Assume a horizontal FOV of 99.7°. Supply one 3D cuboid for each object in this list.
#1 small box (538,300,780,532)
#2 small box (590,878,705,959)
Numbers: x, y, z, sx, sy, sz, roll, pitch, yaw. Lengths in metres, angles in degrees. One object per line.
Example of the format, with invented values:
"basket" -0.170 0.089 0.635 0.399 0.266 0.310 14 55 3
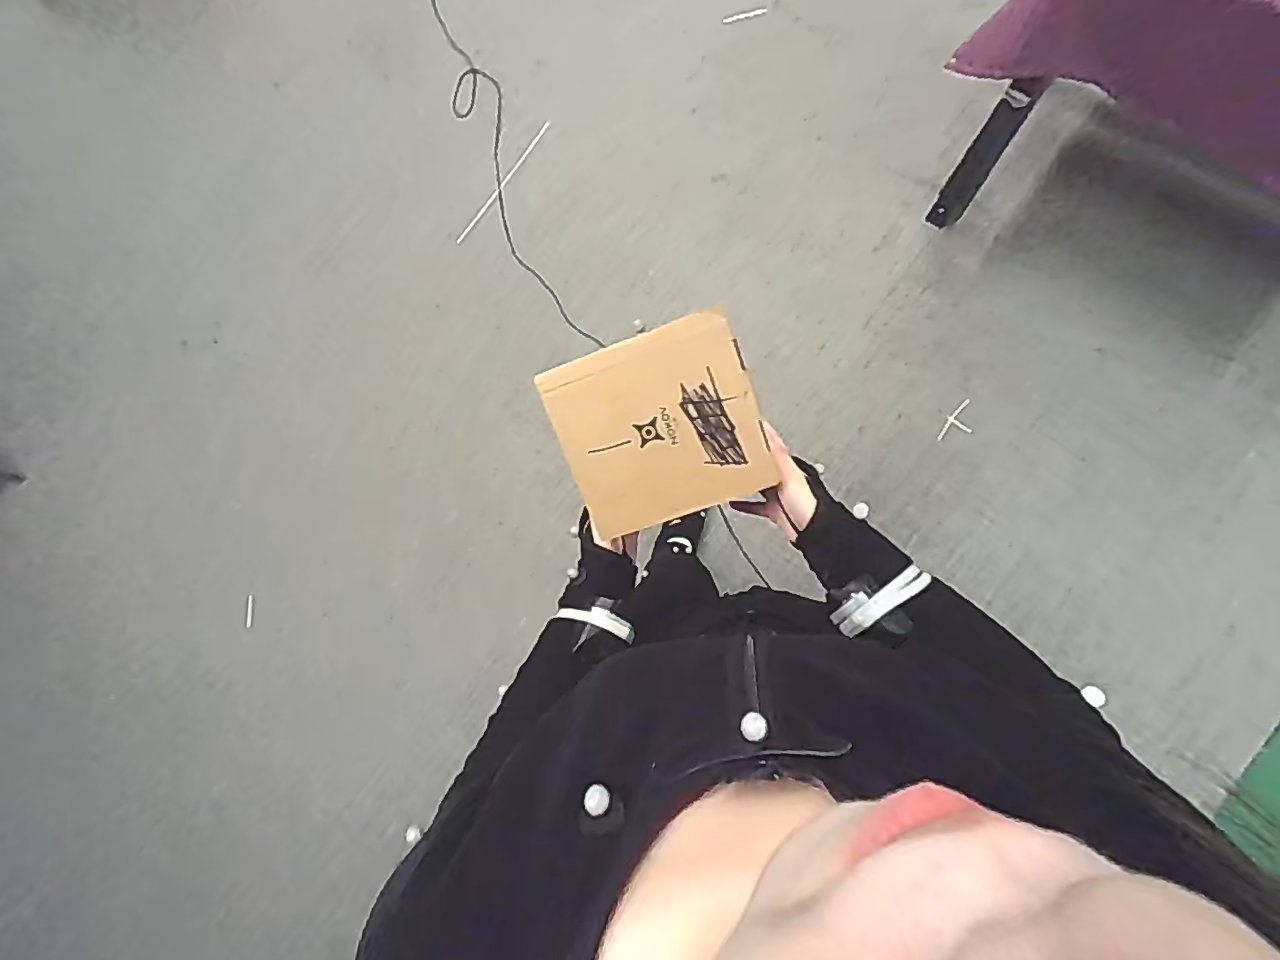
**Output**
"small box" 0.023 -0.073 0.546 0.179 0.176 0.168 -18 104 10
"small box" 0.012 0.926 1.036 0.168 0.176 0.179 44 93 12
